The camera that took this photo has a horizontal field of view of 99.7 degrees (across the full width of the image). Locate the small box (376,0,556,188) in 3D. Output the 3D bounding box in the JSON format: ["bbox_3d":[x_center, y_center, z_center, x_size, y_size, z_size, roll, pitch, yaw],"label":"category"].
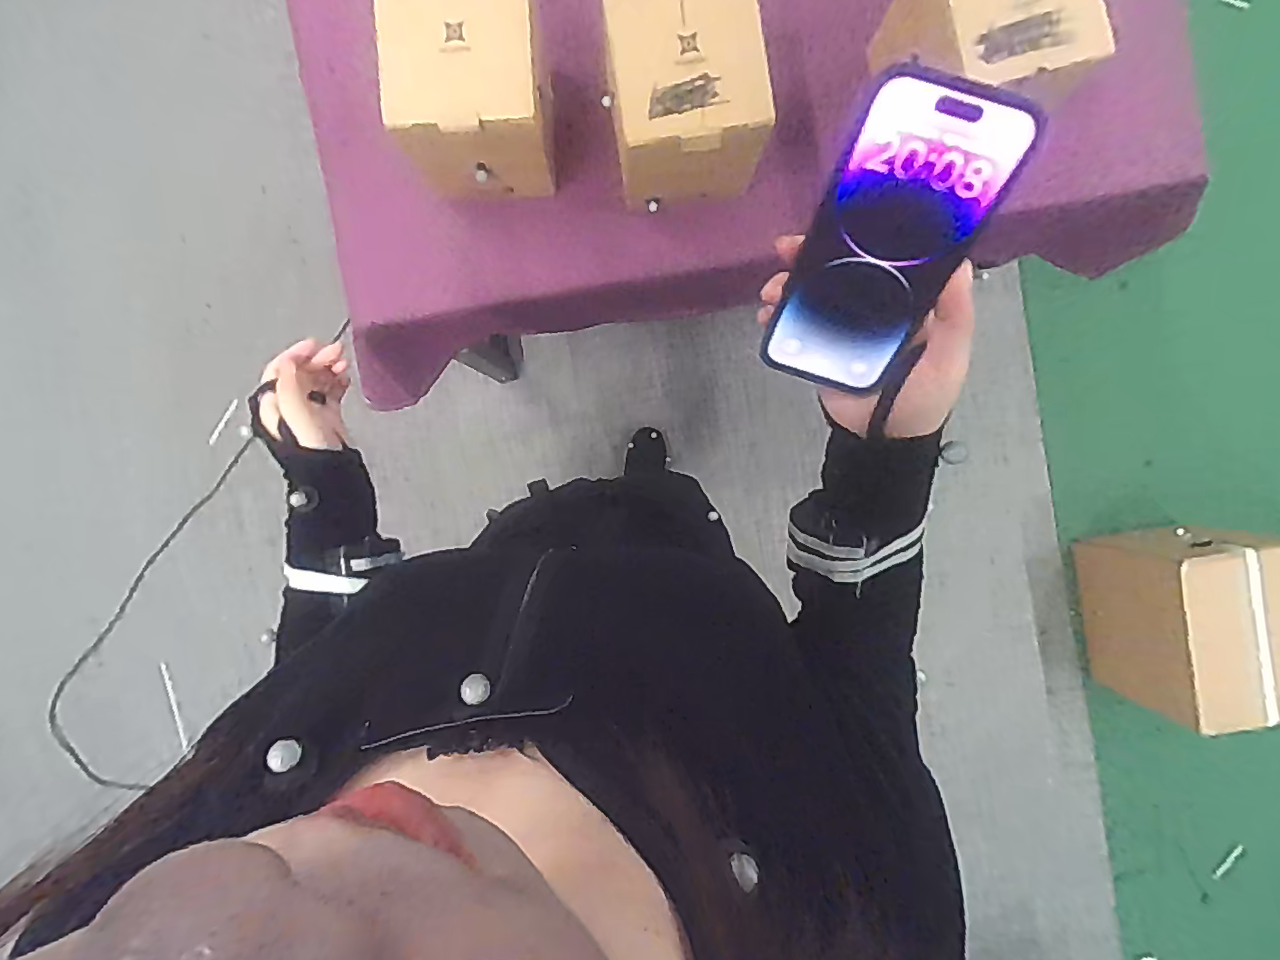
[{"bbox_3d":[-0.197,-0.474,0.655,0.168,0.176,0.179,-2,94,-1],"label":"small box"}]

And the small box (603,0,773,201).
[{"bbox_3d":[0.053,-0.464,0.658,0.168,0.176,0.179,-9,92,0],"label":"small box"}]
